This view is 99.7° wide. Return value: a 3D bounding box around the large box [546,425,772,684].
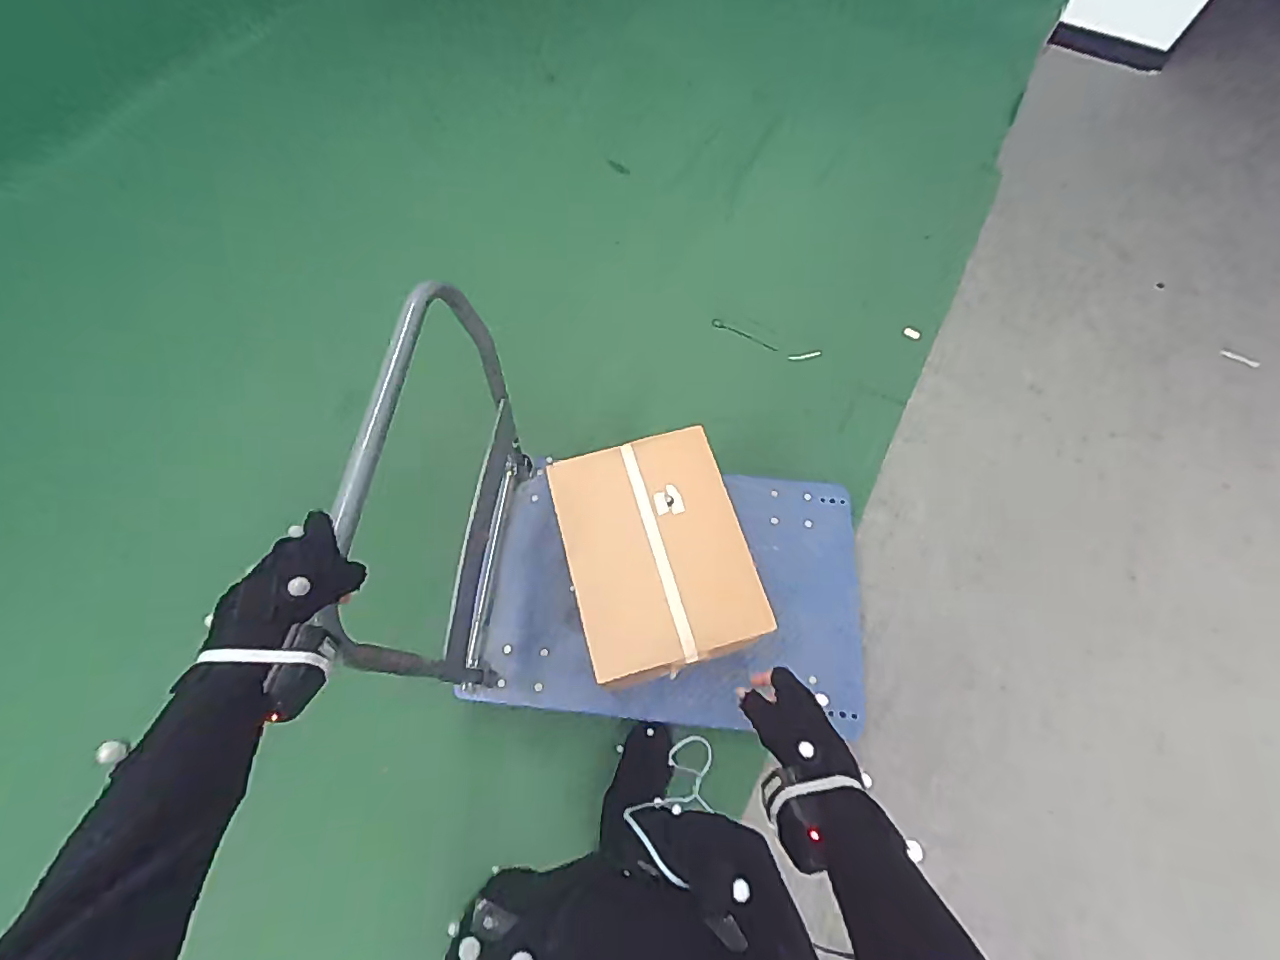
[{"bbox_3d":[0.026,0.164,1.106,0.320,0.320,0.408,-15,67,-6],"label":"large box"}]
